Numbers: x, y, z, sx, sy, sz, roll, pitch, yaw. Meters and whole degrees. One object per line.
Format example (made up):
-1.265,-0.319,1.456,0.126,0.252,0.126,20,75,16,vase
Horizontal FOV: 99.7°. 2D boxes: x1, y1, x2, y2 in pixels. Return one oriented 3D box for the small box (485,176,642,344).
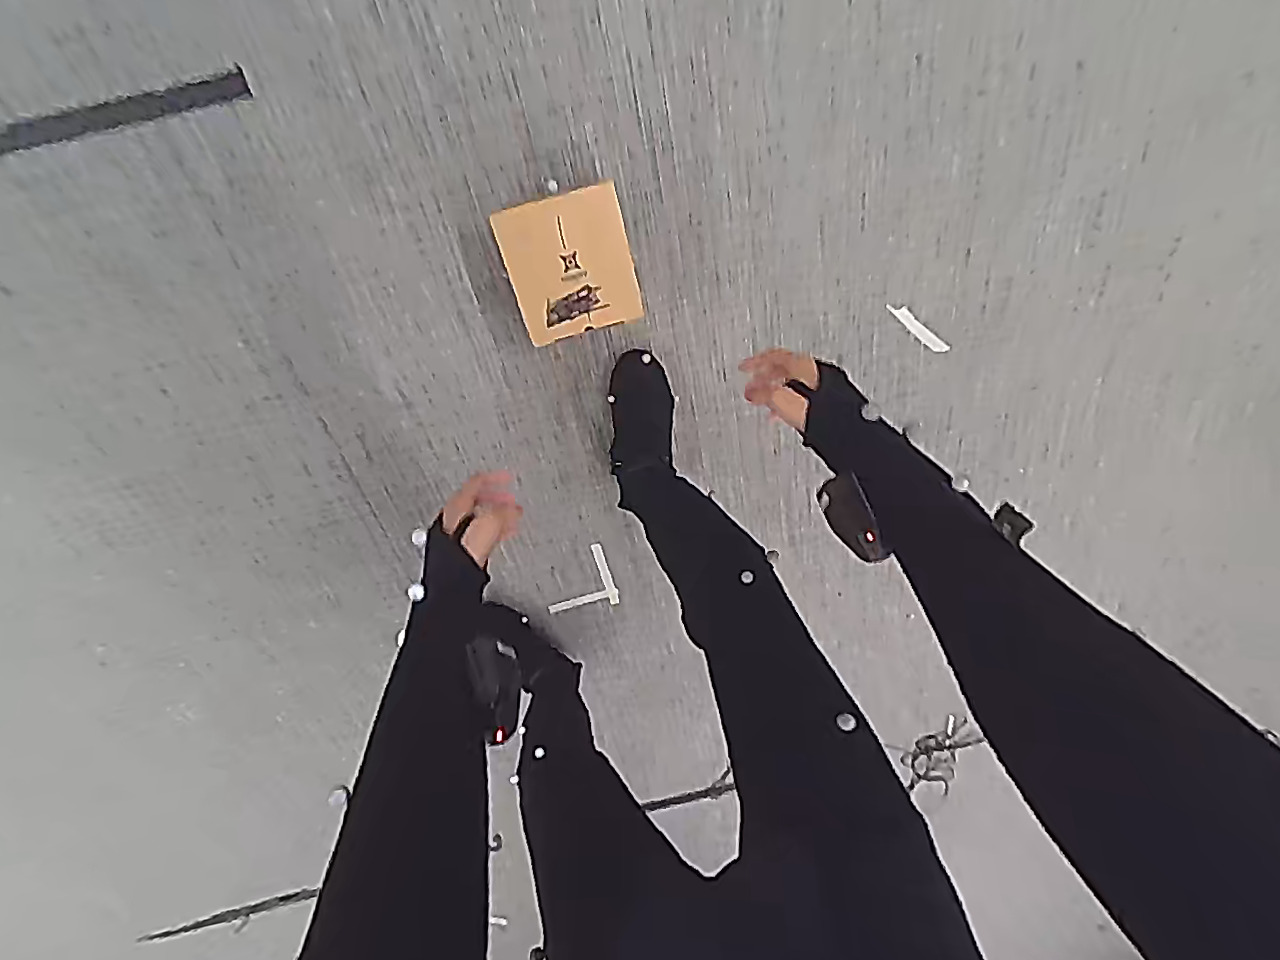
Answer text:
-0.104,-0.317,0.767,0.168,0.176,0.179,-16,120,-1,small box
